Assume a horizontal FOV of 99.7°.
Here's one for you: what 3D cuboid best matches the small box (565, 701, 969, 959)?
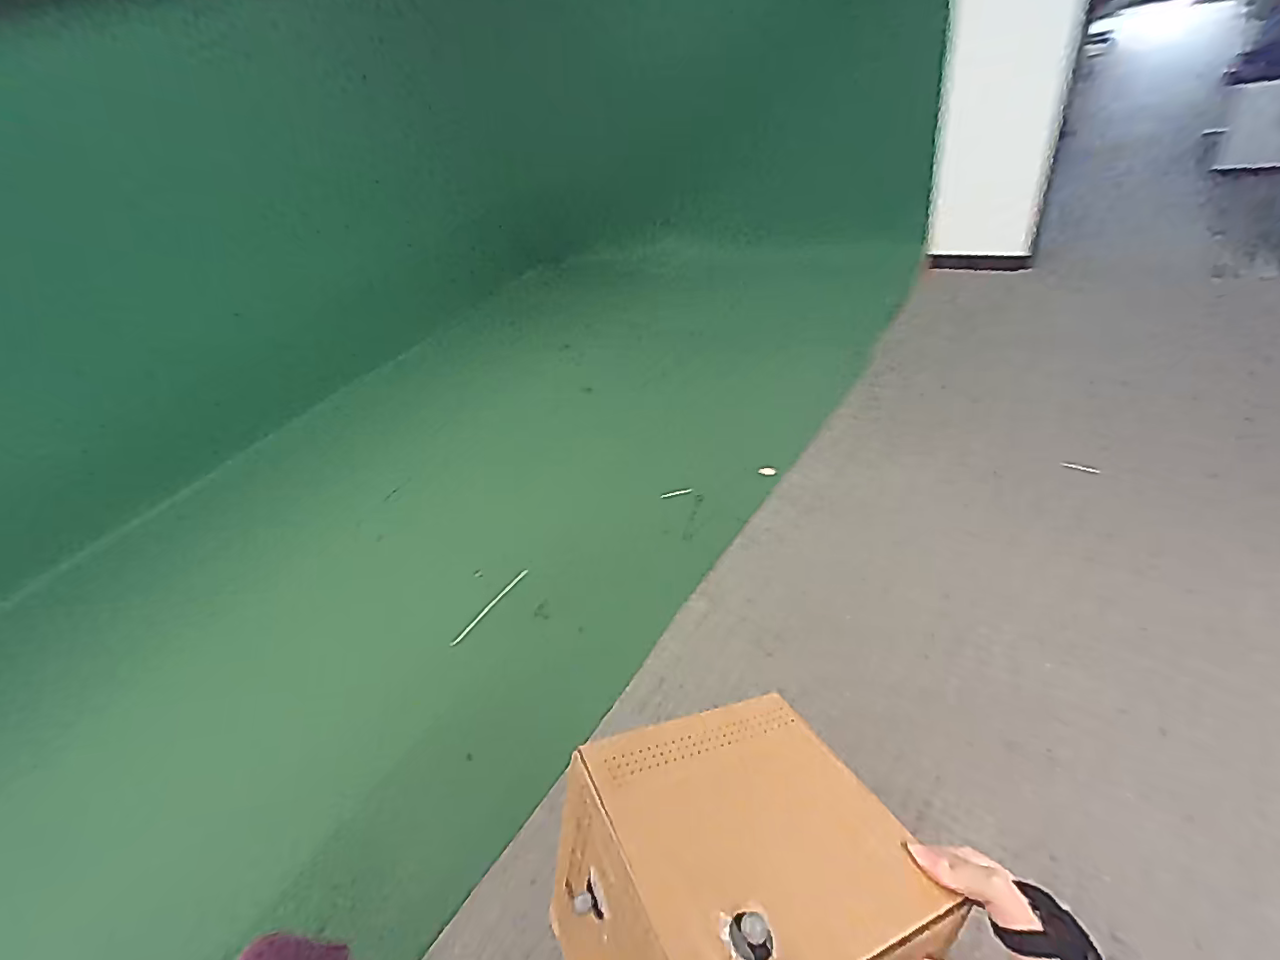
[{"bbox_3d":[0.064,0.277,0.362,0.179,0.168,0.176,-2,23,-25],"label":"small box"}]
